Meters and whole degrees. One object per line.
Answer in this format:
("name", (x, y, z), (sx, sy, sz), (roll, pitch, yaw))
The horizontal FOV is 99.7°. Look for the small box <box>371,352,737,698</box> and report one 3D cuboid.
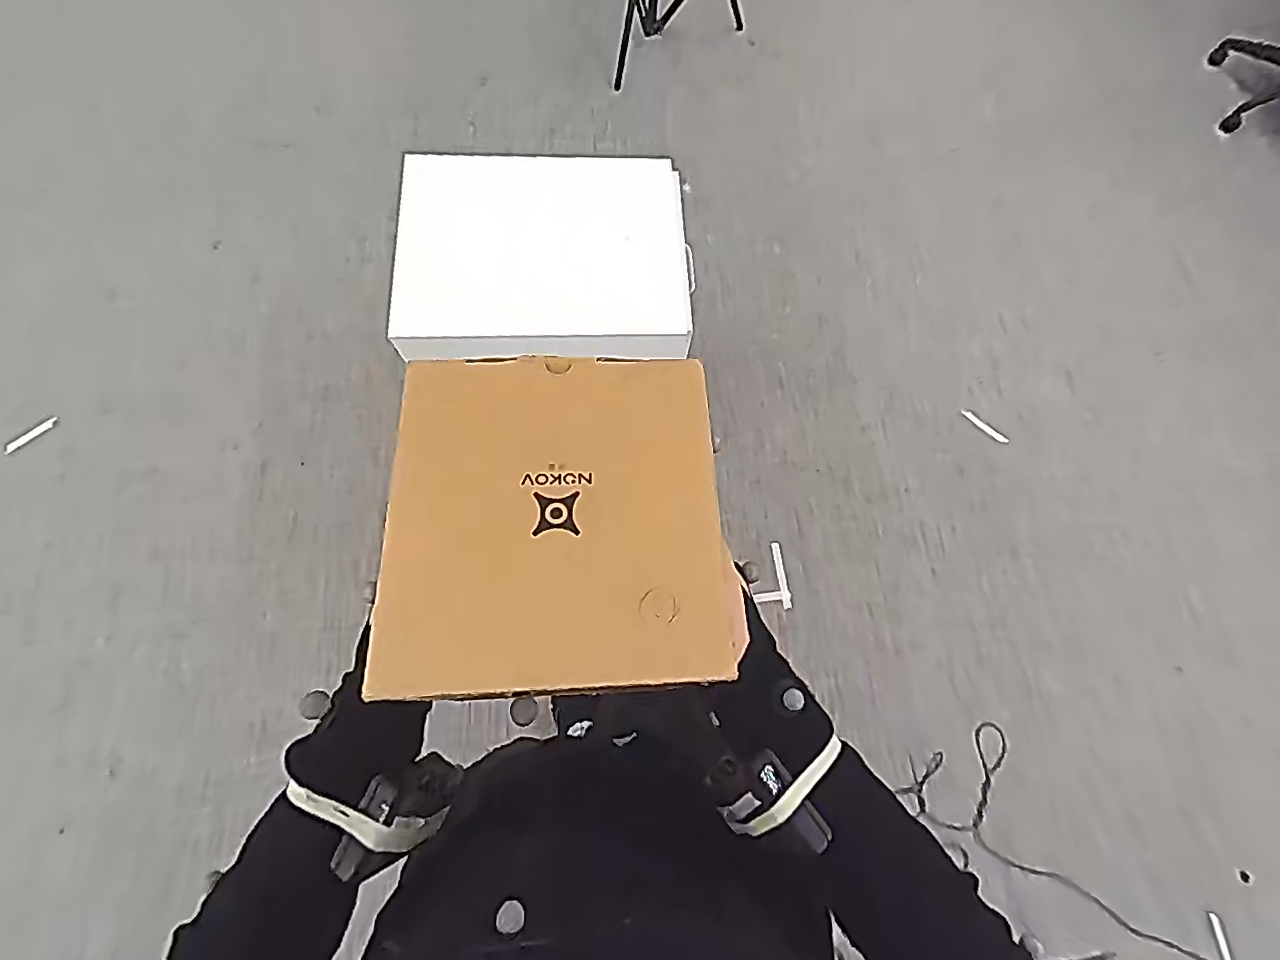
("small box", (-0.045, 0.040, 0.342), (0.168, 0.176, 0.179), (-1, 67, -5))
